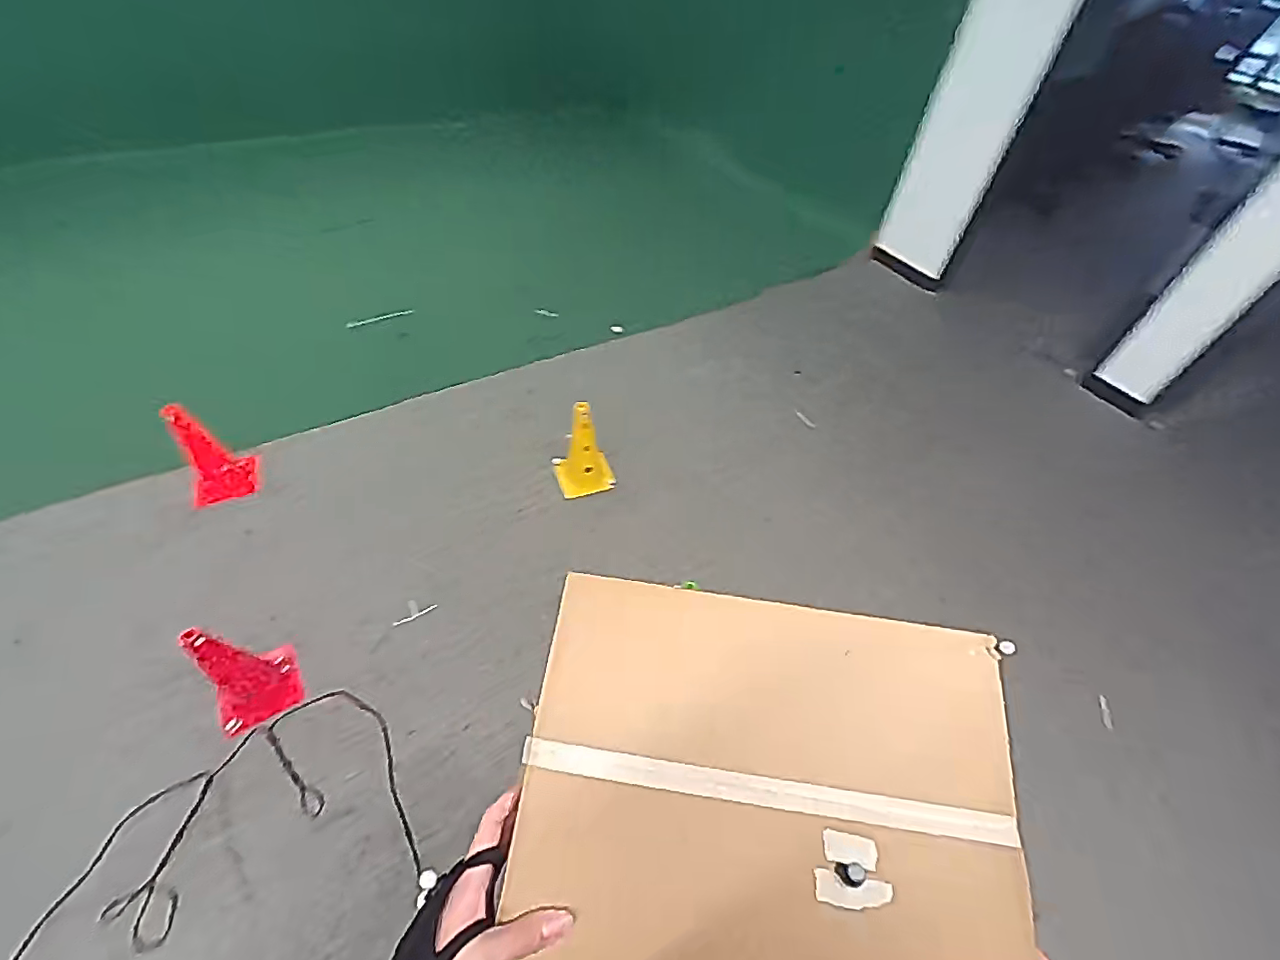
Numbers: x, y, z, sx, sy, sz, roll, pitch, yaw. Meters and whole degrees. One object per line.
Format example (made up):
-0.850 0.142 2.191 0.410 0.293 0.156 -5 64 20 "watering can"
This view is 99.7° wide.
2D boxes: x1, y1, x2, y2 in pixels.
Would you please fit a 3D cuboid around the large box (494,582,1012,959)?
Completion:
0.096 0.319 0.596 0.408 0.320 0.320 7 66 2 "large box"

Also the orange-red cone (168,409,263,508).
-1.492 -0.100 1.851 0.199 0.360 0.198 -17 52 -16 "orange-red cone"
